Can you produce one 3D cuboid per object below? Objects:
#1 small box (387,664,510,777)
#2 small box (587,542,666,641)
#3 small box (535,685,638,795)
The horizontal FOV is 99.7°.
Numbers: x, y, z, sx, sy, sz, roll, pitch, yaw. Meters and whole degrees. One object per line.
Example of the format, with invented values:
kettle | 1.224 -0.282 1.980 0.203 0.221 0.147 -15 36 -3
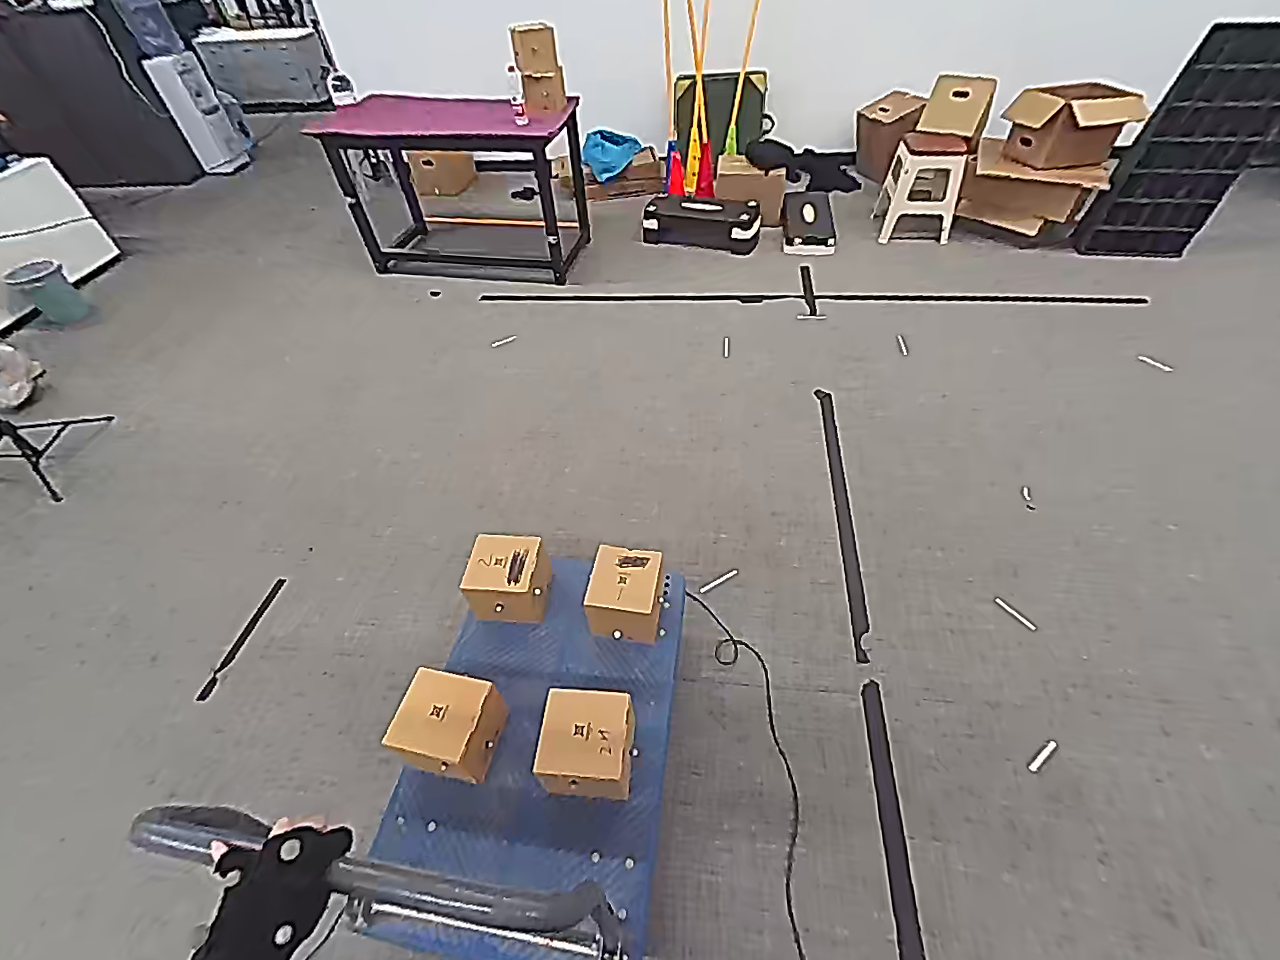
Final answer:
small box | -0.410 0.531 1.188 0.179 0.176 0.168 8 49 9
small box | -0.027 0.286 1.381 0.168 0.176 0.179 6 50 10
small box | -0.104 0.553 1.146 0.179 0.176 0.168 2 48 6
